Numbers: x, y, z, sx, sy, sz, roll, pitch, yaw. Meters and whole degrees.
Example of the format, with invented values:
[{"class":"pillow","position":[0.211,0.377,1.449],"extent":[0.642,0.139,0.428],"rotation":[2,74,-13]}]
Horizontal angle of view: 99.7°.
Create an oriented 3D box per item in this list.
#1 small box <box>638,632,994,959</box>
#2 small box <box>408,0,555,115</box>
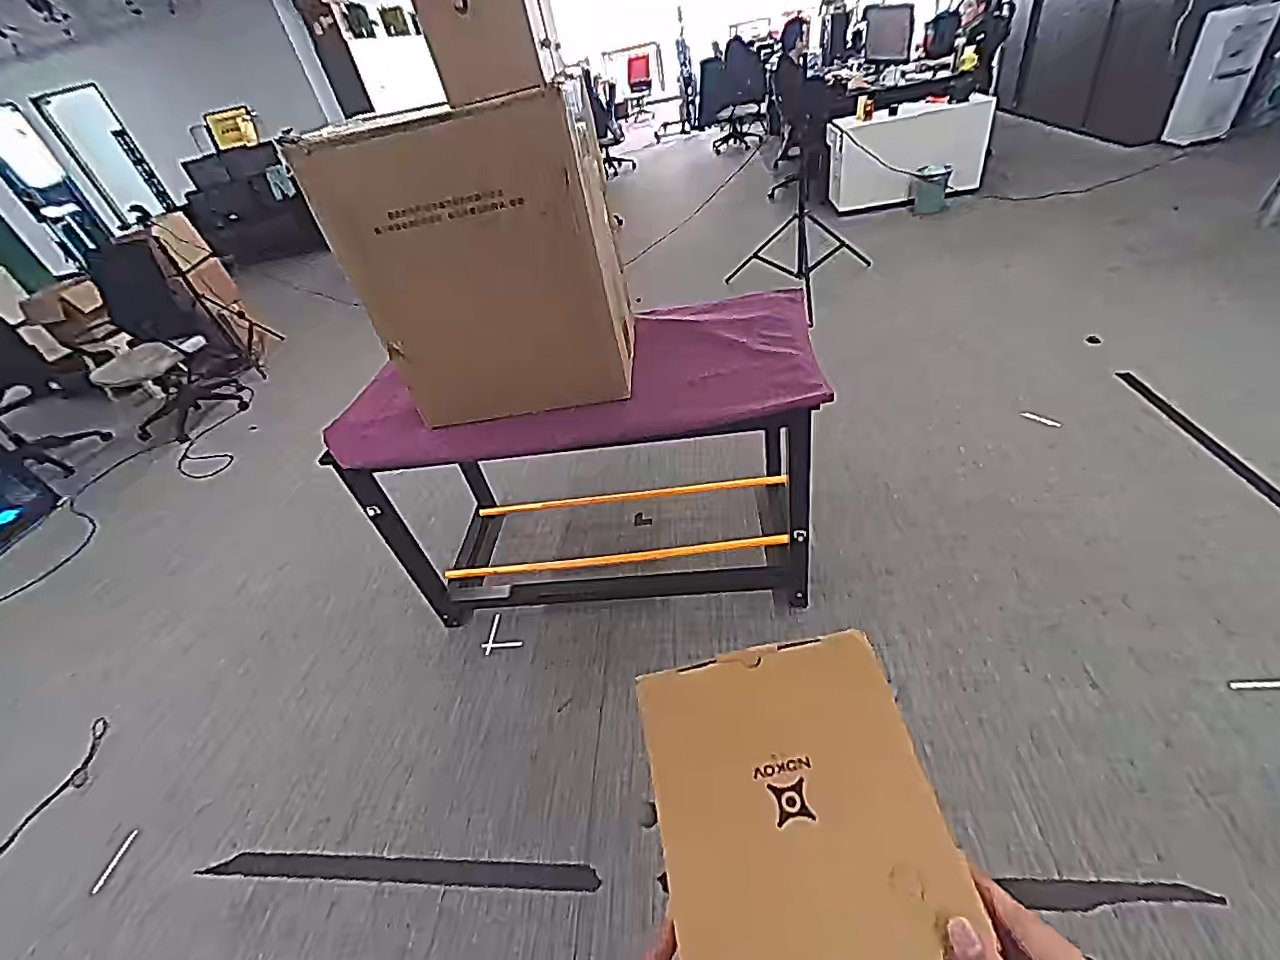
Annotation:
[{"class":"small box","position":[0.104,0.238,0.392],"extent":[0.168,0.176,0.179],"rotation":[-14,52,1]},{"class":"small box","position":[-0.263,-0.753,0.934],"extent":[0.179,0.176,0.168],"rotation":[-10,40,7]}]
